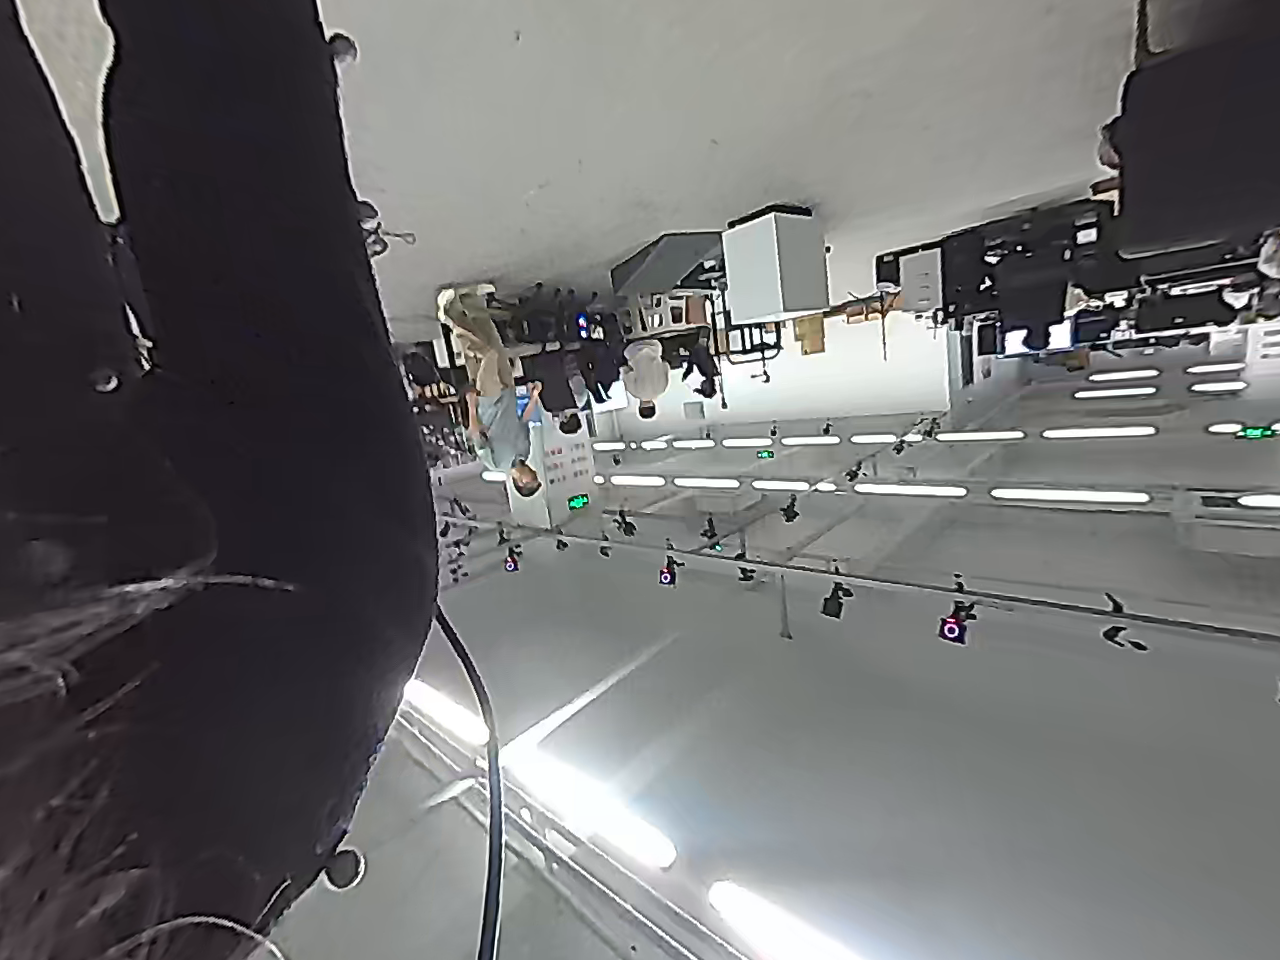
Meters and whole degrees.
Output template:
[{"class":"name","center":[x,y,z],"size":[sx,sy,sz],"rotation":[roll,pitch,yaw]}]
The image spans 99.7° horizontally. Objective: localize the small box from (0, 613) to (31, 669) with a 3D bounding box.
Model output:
[{"class":"small box","center":[-2.304,0.582,1.896],"size":[0.179,0.176,0.168],"rotation":[-3,-169,31]}]
